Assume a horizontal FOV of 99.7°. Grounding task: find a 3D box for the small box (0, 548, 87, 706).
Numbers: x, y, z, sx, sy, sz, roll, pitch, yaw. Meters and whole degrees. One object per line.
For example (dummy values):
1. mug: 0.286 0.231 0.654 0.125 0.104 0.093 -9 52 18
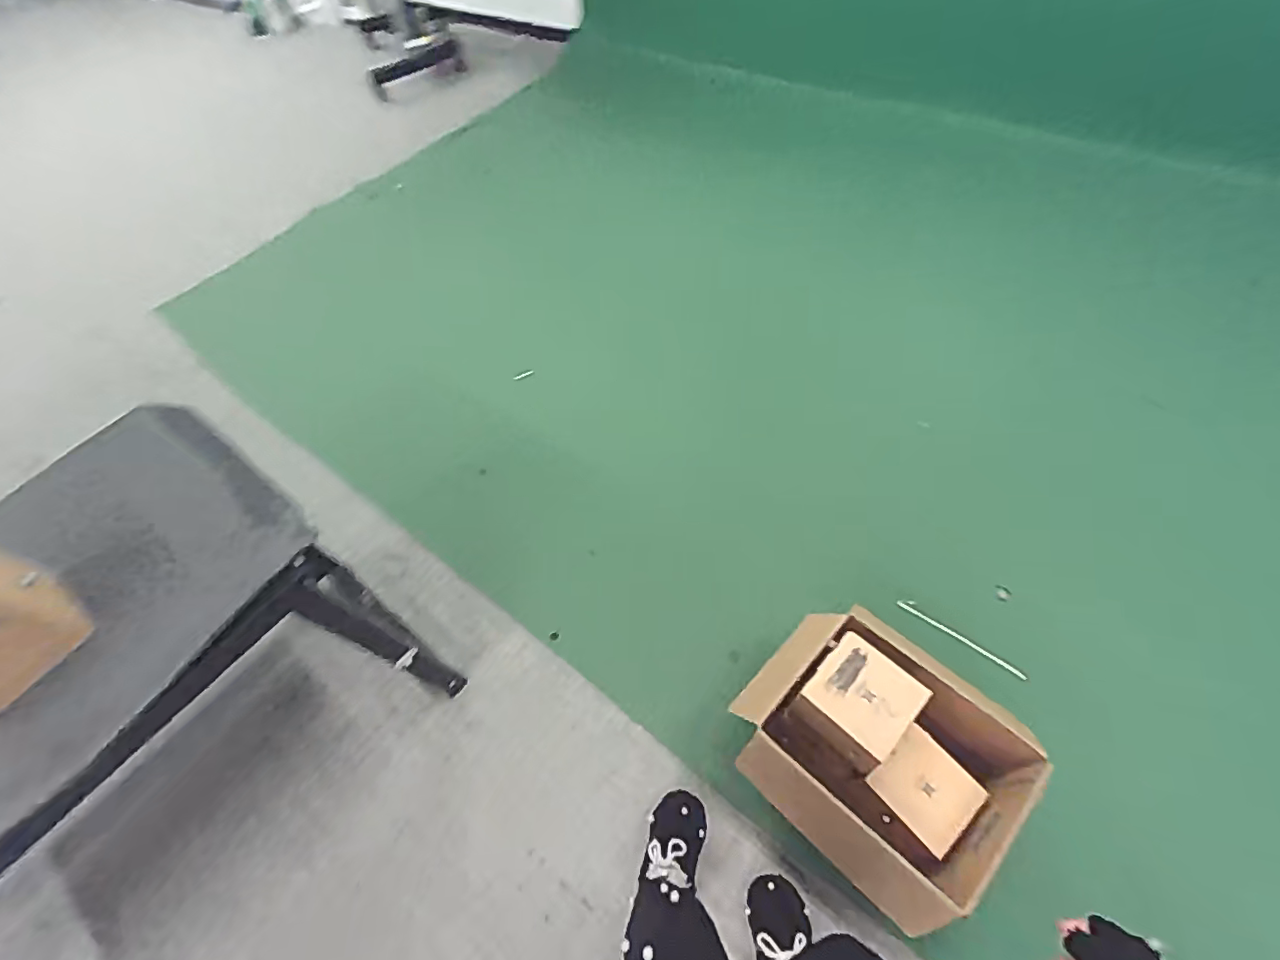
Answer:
1. small box: -0.924 0.195 0.735 0.168 0.176 0.179 30 65 24
